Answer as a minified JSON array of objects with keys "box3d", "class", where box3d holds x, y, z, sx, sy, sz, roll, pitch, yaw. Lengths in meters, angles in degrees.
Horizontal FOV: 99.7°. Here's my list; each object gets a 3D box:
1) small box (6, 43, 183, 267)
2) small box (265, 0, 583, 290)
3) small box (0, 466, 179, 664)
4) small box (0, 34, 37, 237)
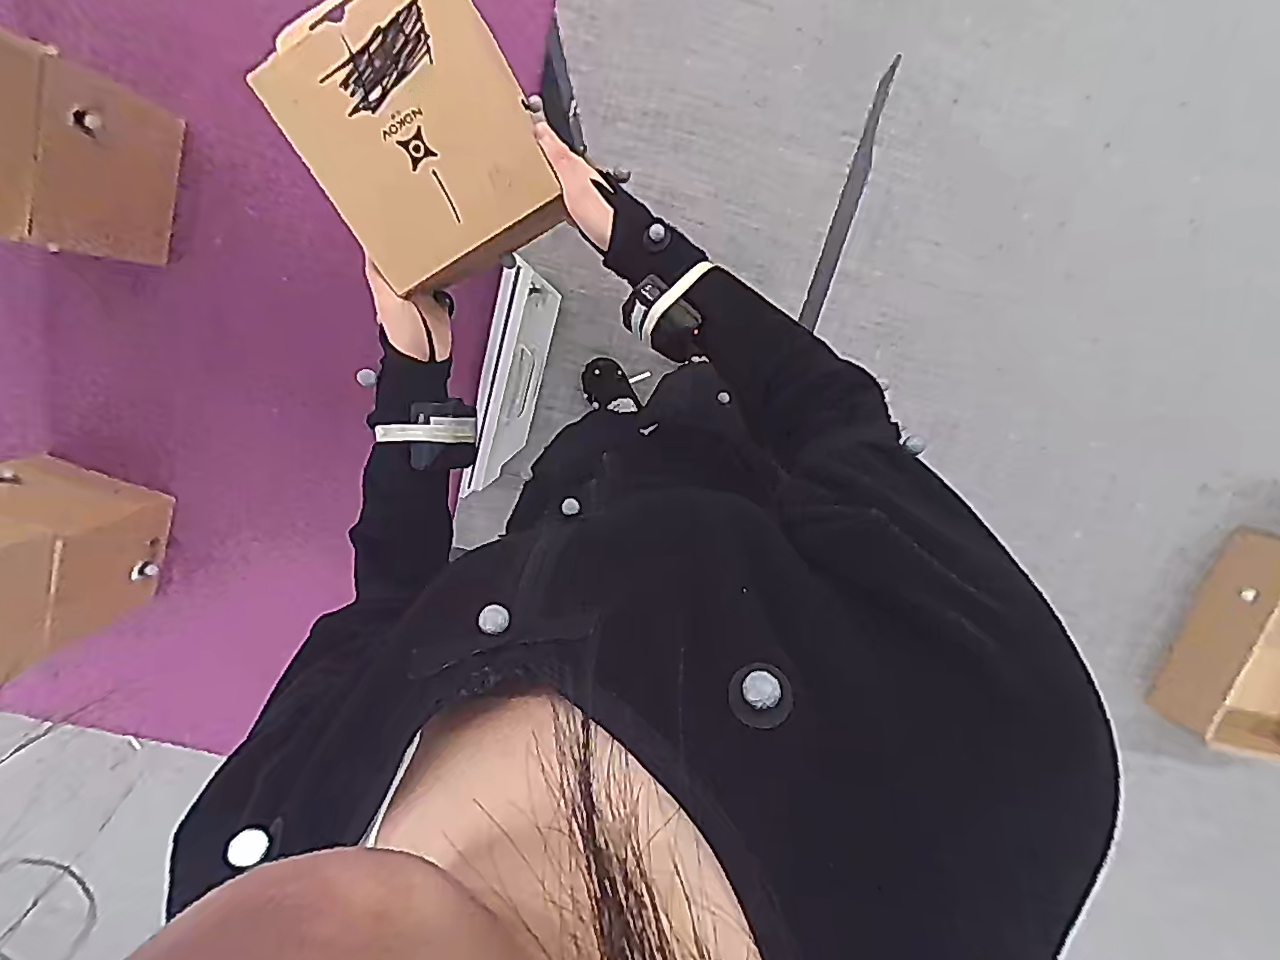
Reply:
[{"box3d":[-0.641,-0.349,0.577,0.168,0.176,0.179,18,102,-6],"class":"small box"},{"box3d":[-0.165,-0.289,0.481,0.168,0.176,0.179,-26,110,10],"class":"small box"},{"box3d":[-0.743,0.093,0.678,0.179,0.176,0.168,19,103,-8],"class":"small box"},{"box3d":[-0.639,-0.311,0.417,0.168,0.176,0.179,19,103,-7],"class":"small box"}]
